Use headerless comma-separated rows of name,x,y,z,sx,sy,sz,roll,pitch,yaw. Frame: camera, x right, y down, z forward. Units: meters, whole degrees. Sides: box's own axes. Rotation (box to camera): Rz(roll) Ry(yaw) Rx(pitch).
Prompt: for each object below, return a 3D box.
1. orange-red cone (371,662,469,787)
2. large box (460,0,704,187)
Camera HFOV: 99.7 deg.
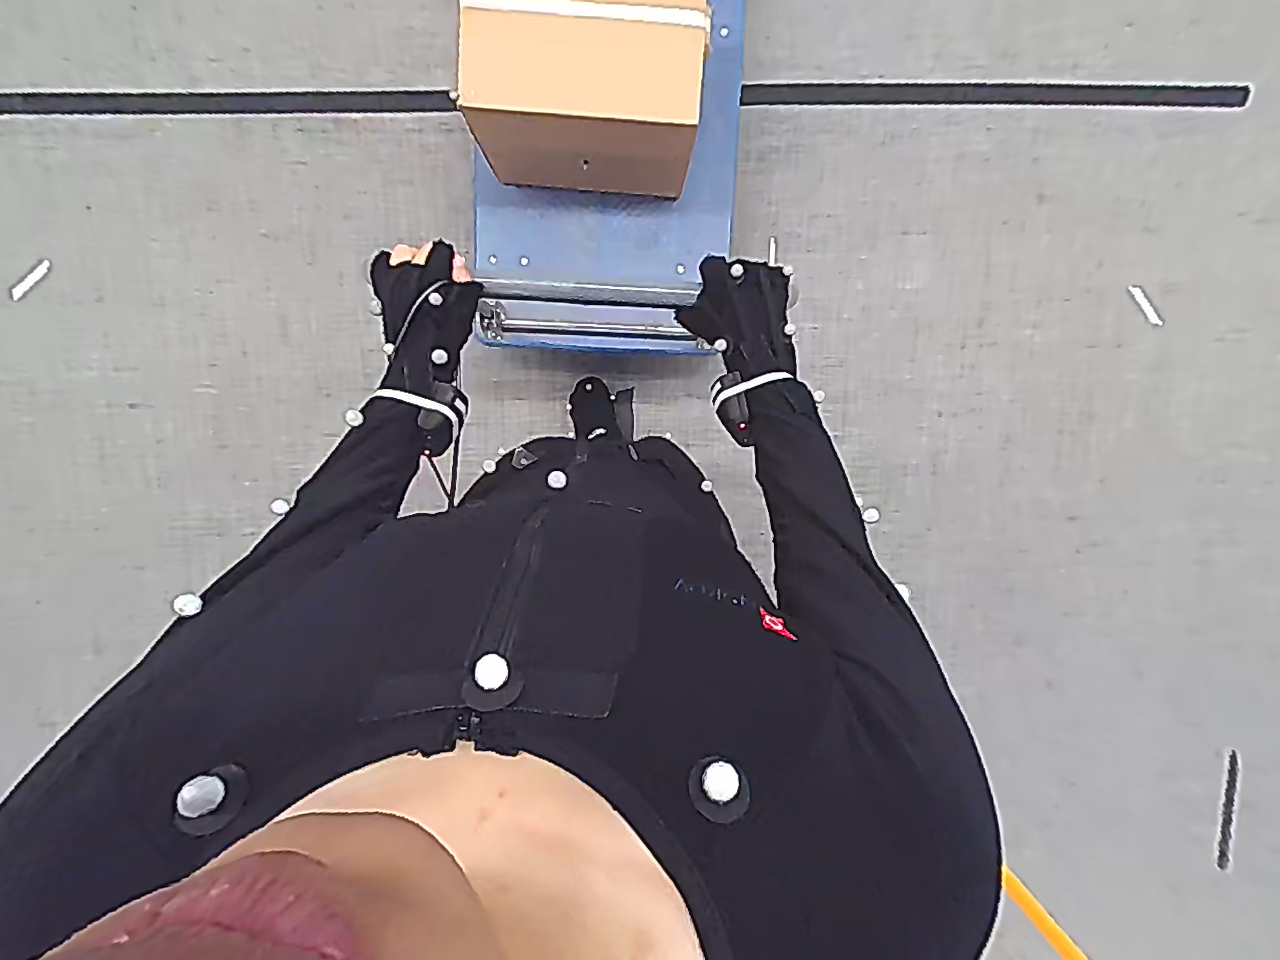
orange-red cone,-0.580,0.631,1.353,0.198,0.360,0.199,7,96,-4
large box,-0.095,-0.786,1.033,0.408,0.320,0.320,3,97,-2
